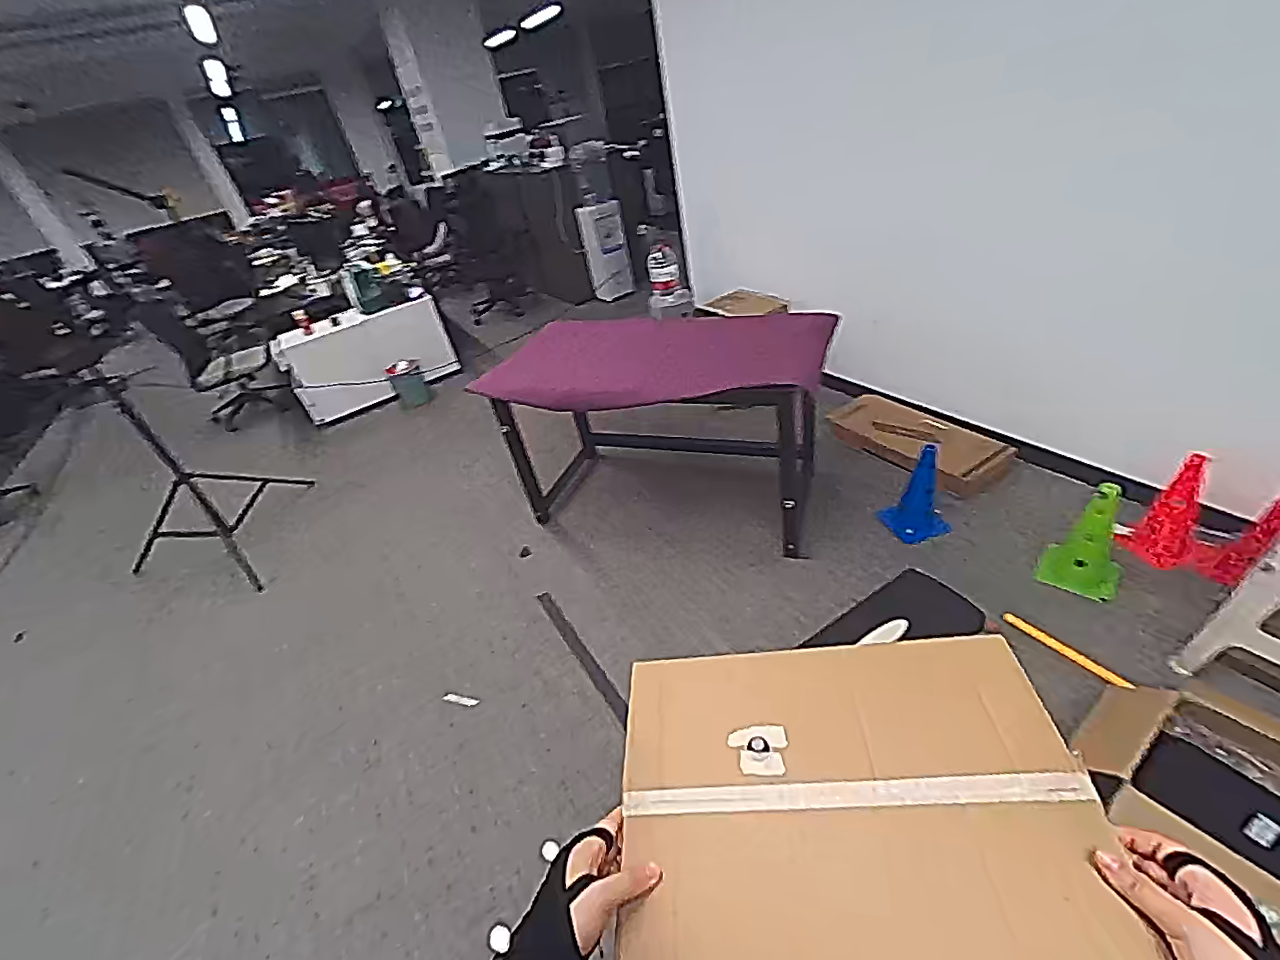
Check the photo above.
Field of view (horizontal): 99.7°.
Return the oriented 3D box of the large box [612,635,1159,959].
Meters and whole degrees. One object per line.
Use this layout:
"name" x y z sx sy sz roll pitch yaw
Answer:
"large box" 0.209 0.408 0.588 0.408 0.320 0.320 -9 37 10
